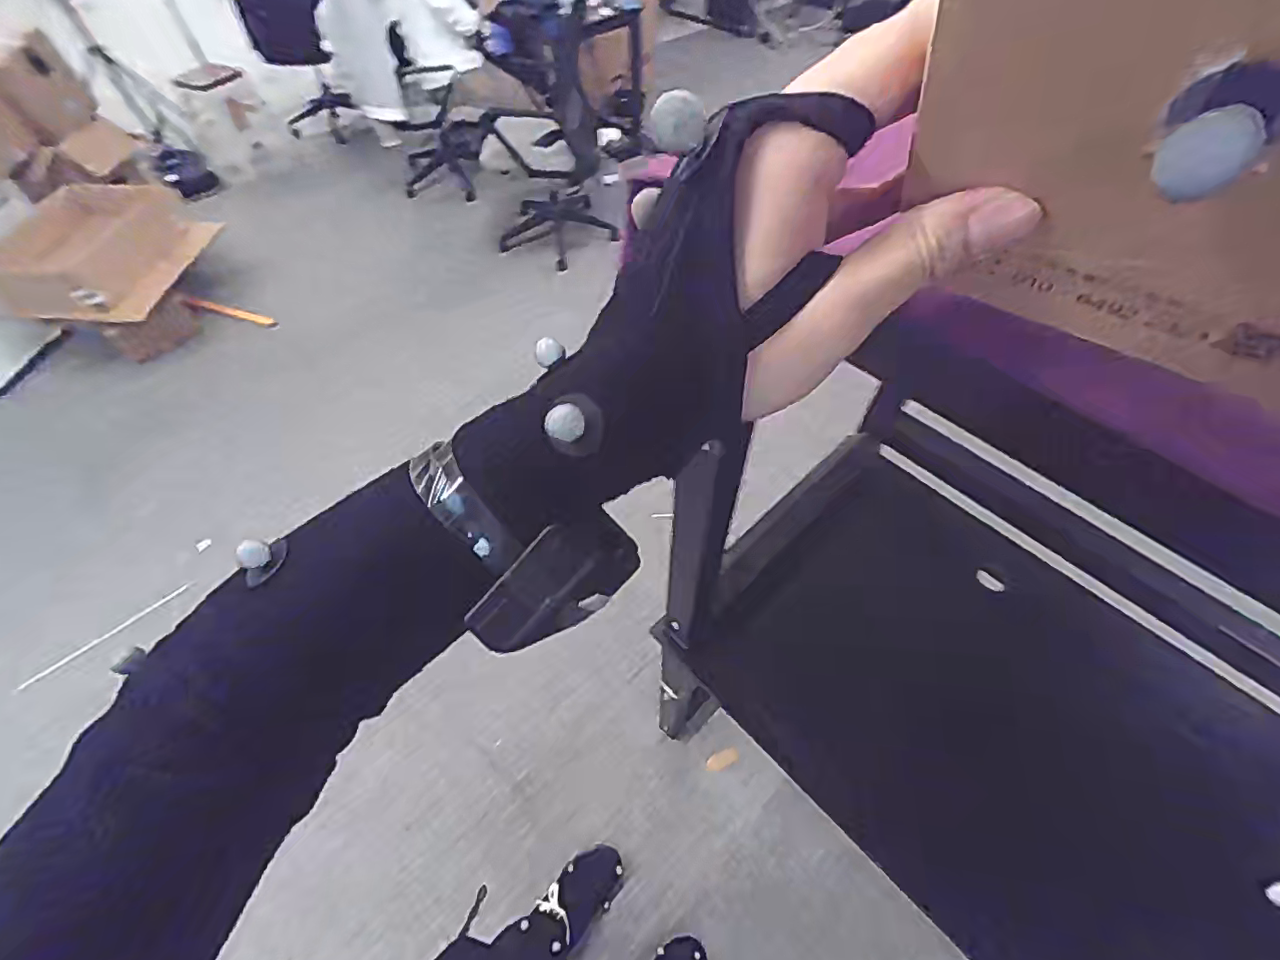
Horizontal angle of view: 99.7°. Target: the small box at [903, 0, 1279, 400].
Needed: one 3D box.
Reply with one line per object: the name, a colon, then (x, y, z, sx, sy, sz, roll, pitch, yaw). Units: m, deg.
small box: (0.176, -0.132, 0.110, 0.168, 0.176, 0.179, 31, 90, 22)
